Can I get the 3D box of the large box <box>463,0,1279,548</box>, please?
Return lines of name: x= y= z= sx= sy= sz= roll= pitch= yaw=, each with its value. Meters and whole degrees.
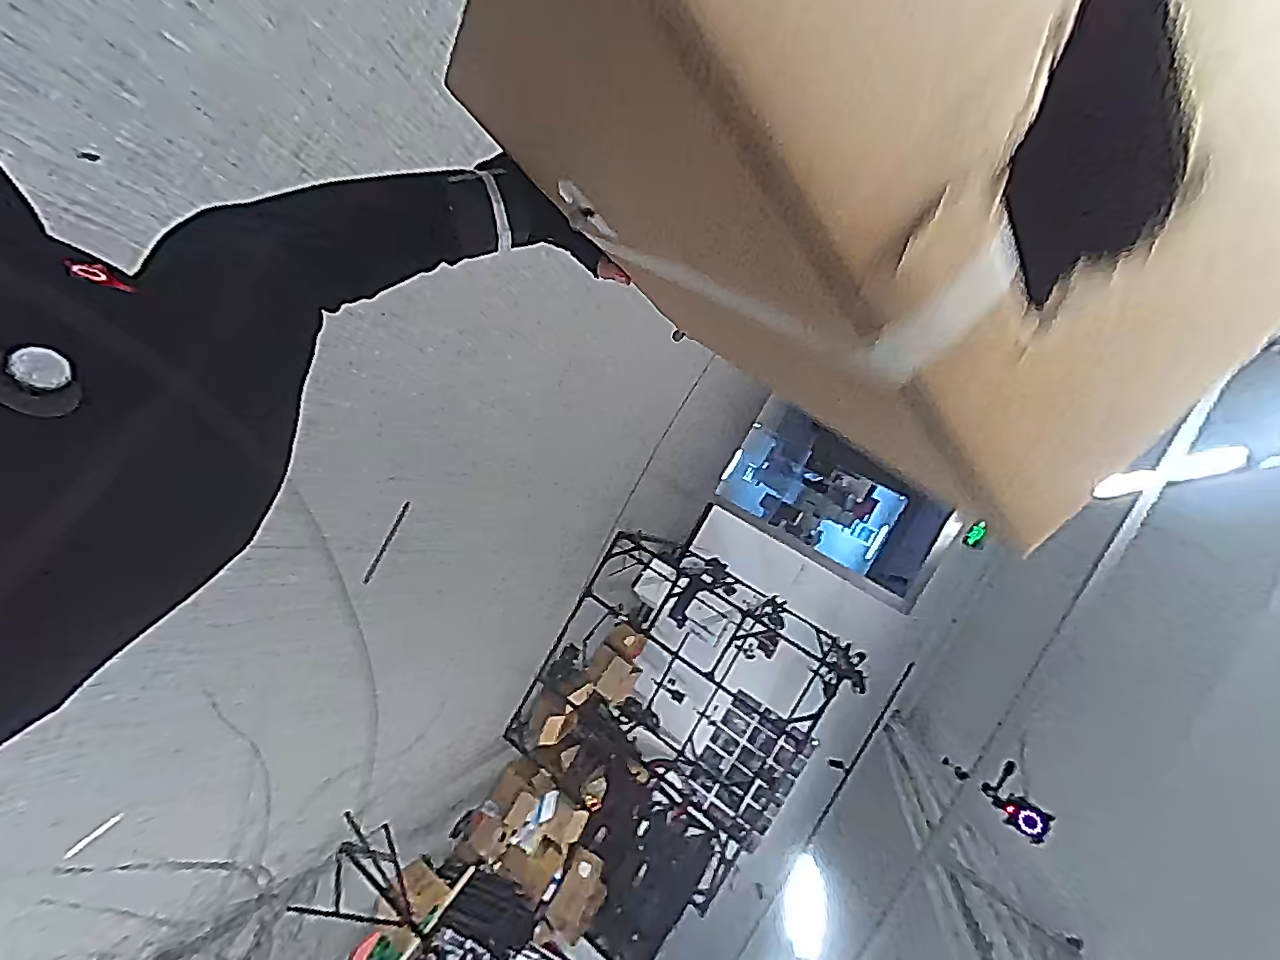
large box: x=0.119 y=-0.240 z=0.325 sx=0.320 sy=0.408 sz=0.320 roll=-45 pitch=125 yaw=11
